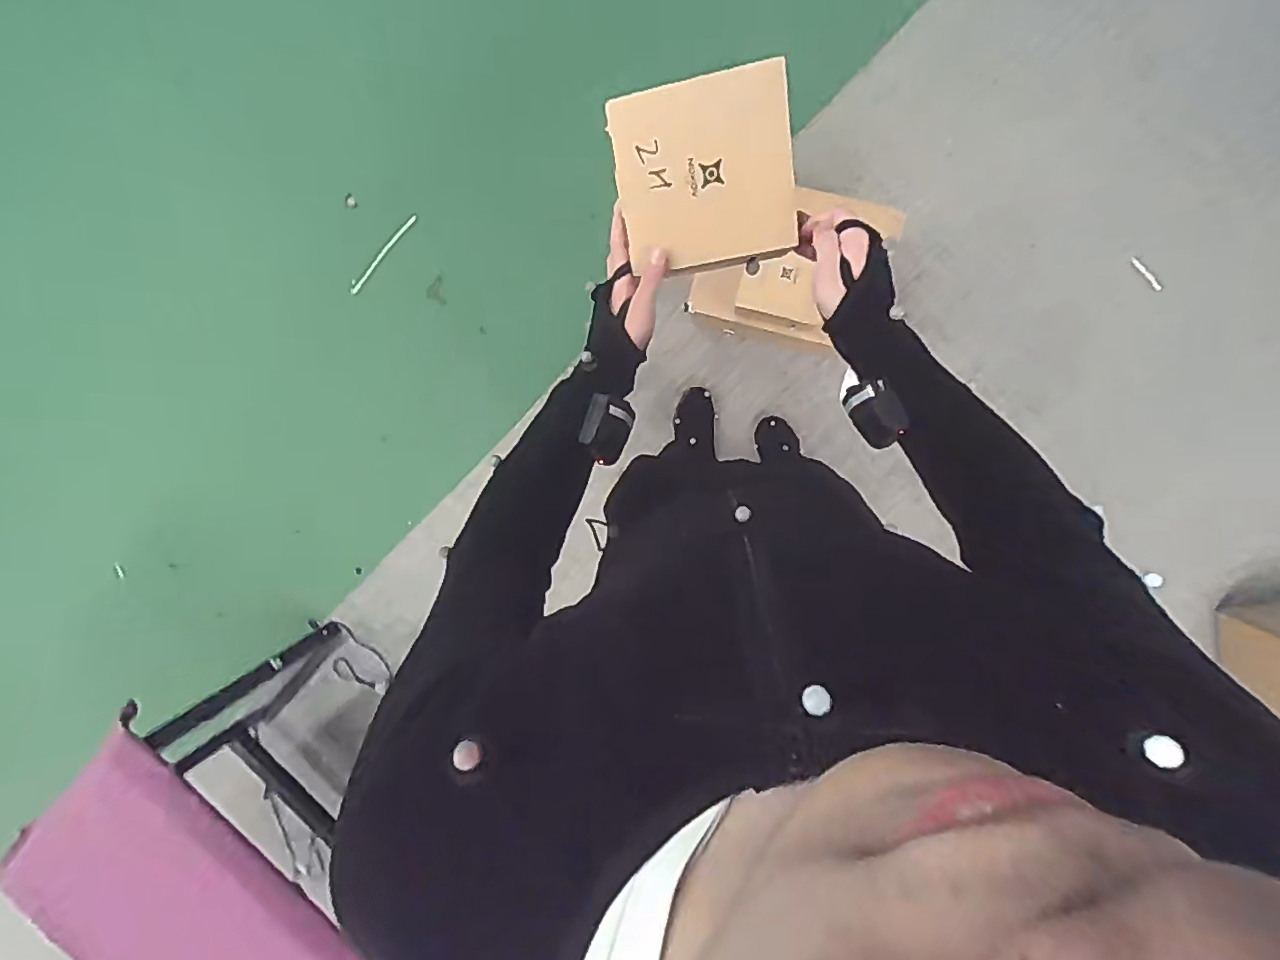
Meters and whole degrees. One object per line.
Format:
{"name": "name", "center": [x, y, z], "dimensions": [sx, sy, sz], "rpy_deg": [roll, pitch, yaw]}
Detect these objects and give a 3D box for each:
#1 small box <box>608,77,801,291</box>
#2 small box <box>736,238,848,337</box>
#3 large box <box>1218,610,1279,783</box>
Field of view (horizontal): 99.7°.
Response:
{"name": "small box", "center": [0.074, -0.313, 0.609], "dimensions": [0.179, 0.176, 0.168], "rpy_deg": [-7, 108, 10]}
{"name": "small box", "center": [0.307, -0.402, 1.132], "dimensions": [0.179, 0.176, 0.168], "rpy_deg": [16, 102, 6]}
{"name": "large box", "center": [1.734, 0.560, 1.321], "dimensions": [0.320, 0.320, 0.408], "rpy_deg": [-11, 97, 10]}
